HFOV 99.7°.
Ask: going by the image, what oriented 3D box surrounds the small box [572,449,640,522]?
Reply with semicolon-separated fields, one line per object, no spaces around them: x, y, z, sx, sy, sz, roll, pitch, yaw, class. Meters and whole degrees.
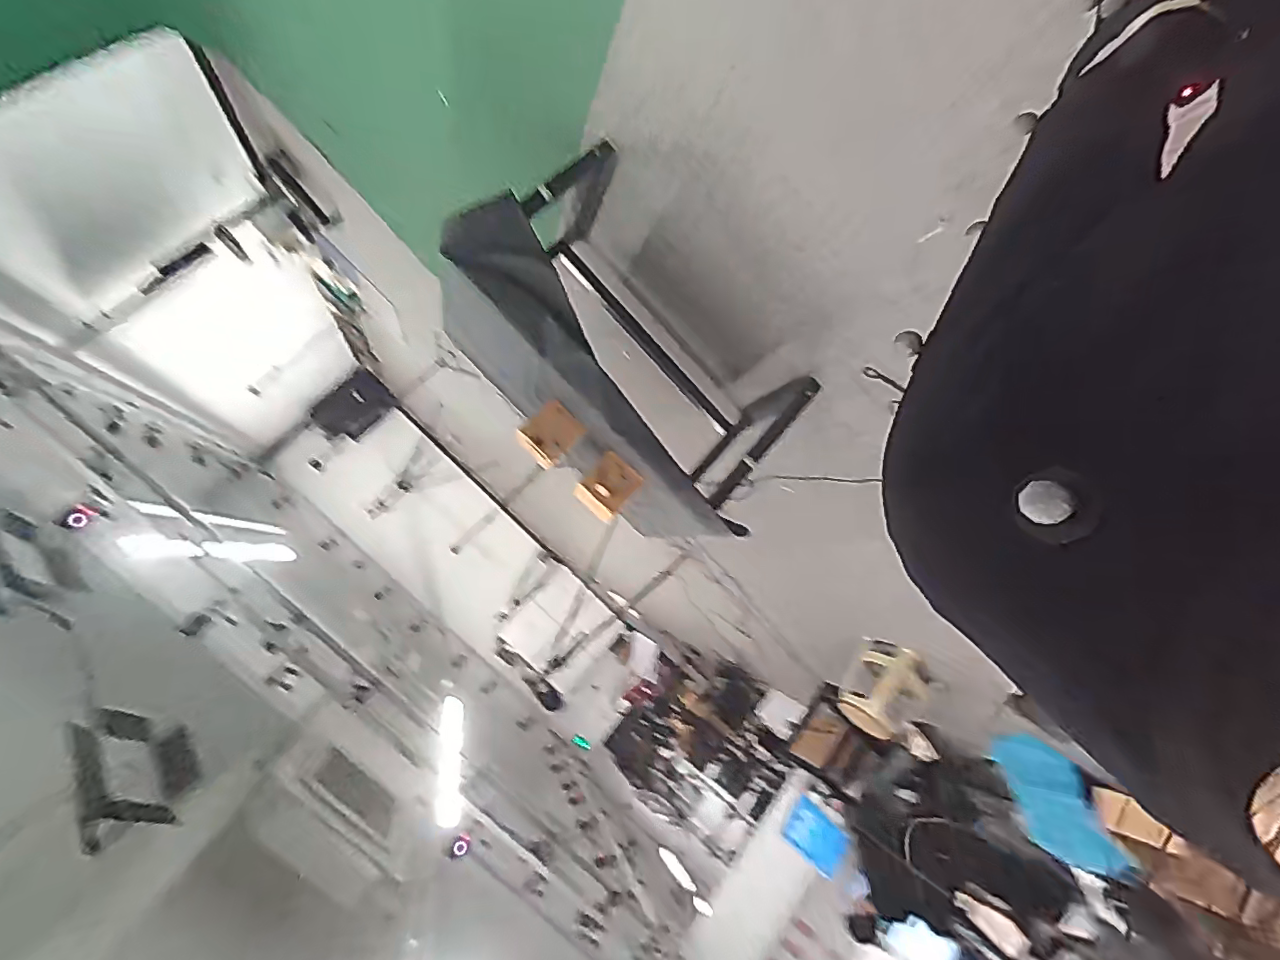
-0.119;0.020;1.891;0.168;0.176;0.179;43;161;3;small box
